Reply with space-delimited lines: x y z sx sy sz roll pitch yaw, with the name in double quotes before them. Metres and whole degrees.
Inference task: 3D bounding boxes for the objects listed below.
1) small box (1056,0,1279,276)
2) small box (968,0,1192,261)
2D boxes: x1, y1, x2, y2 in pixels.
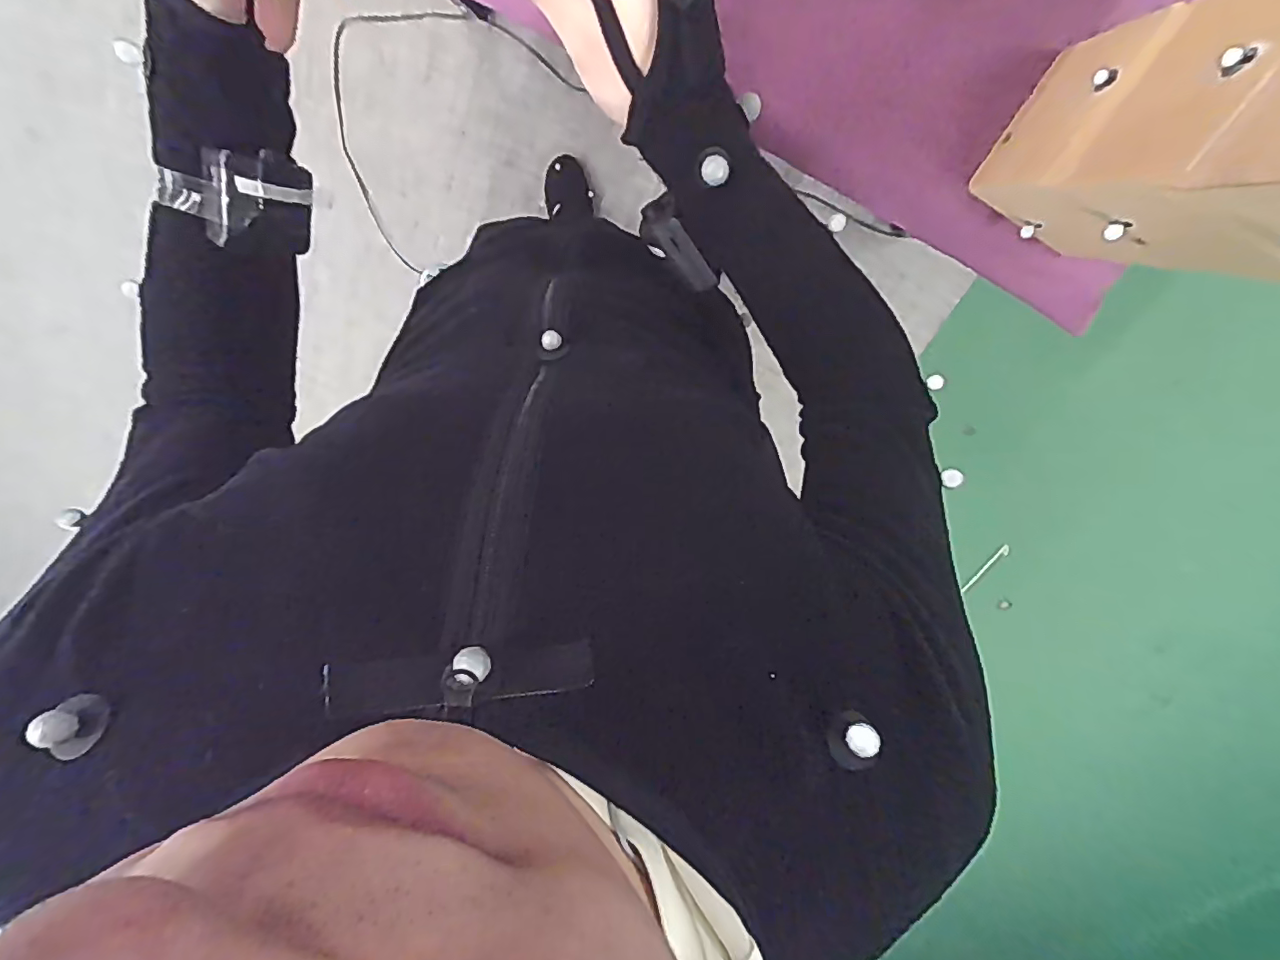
"small box" 0.522 -0.300 0.461 0.168 0.176 0.179 27 115 -9
"small box" 0.526 -0.373 0.607 0.179 0.176 0.168 26 115 -11
